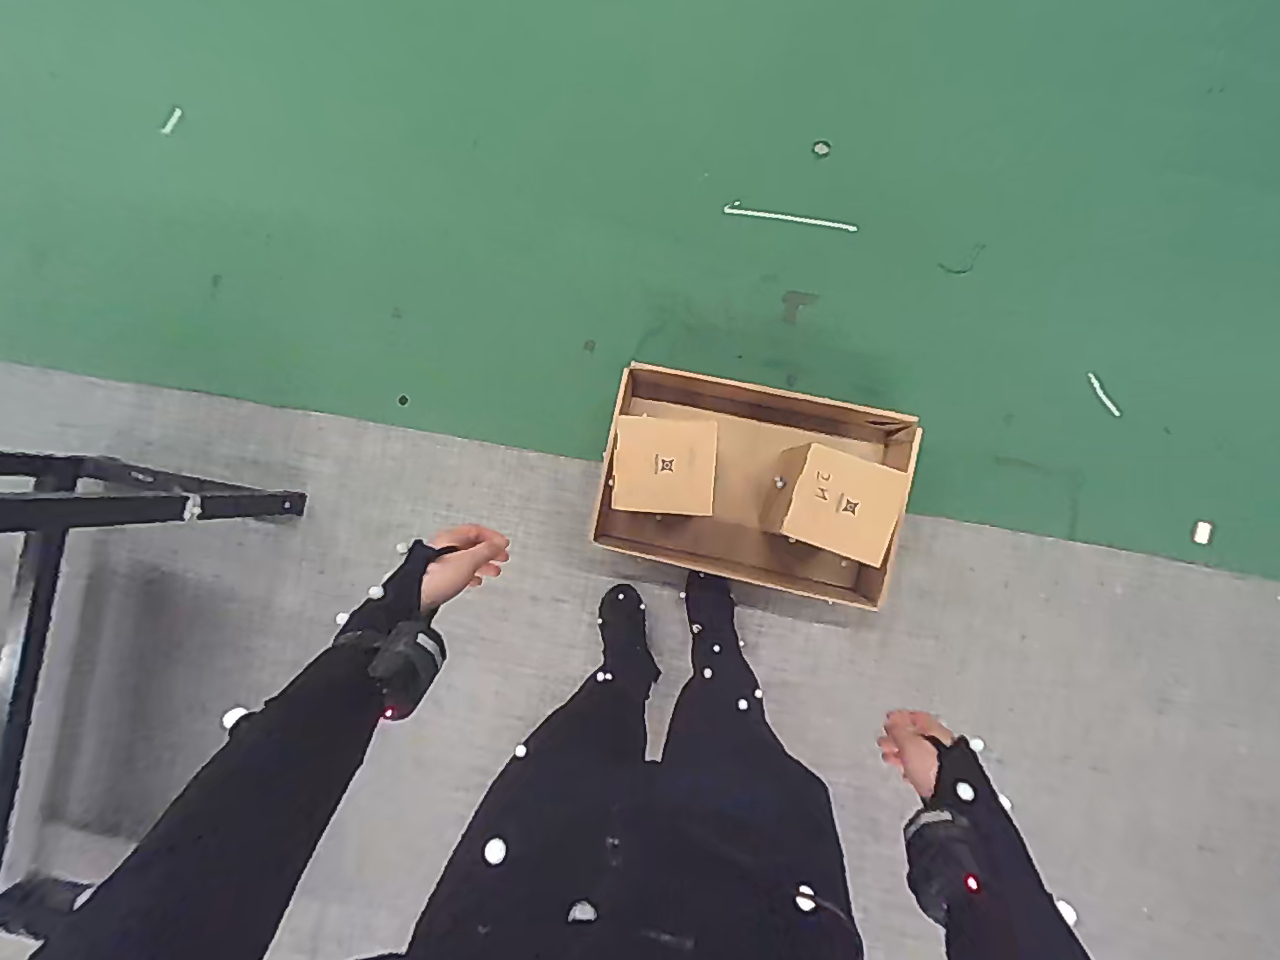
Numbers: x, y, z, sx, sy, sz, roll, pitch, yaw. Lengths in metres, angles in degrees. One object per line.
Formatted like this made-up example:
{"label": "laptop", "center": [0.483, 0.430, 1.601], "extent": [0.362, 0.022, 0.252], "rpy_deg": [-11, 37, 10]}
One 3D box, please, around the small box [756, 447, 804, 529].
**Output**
{"label": "small box", "center": [0.357, 0.041, 1.148], "extent": [0.168, 0.176, 0.179], "rpy_deg": [19, 92, 4]}

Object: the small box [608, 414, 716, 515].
{"label": "small box", "center": [0.040, -0.026, 1.002], "extent": [0.179, 0.176, 0.168], "rpy_deg": [4, 91, 2]}

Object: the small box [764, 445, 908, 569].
{"label": "small box", "center": [0.345, 0.044, 0.984], "extent": [0.179, 0.176, 0.168], "rpy_deg": [20, 91, 5]}
